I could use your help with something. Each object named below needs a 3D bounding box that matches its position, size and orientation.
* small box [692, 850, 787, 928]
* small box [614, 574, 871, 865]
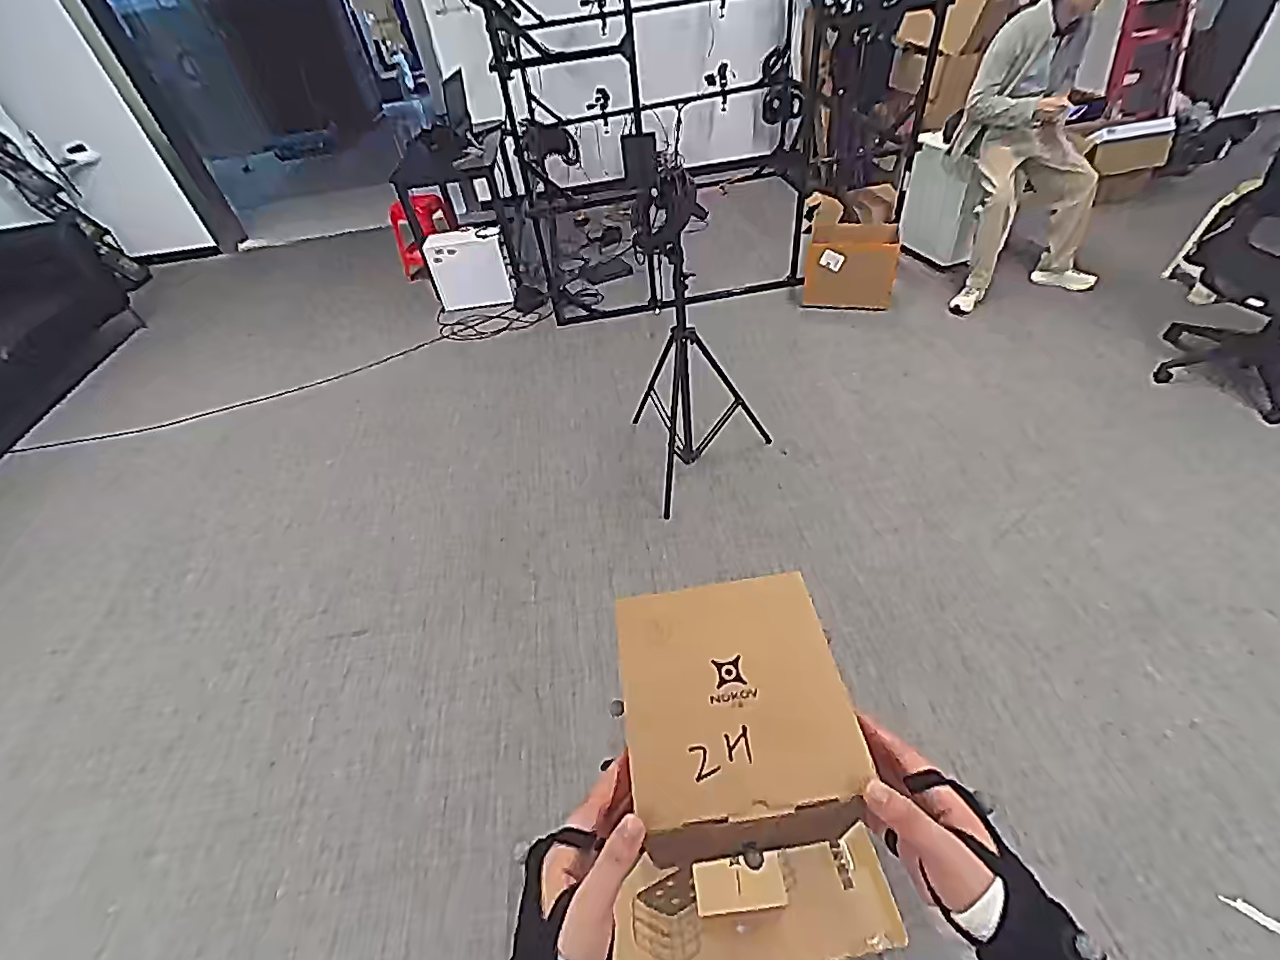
[{"bbox_3d":[0.188,0.776,1.092,0.168,0.176,0.179,-8,44,1],"label":"small box"},{"bbox_3d":[0.072,0.210,0.473,0.168,0.176,0.179,-9,47,0],"label":"small box"}]
